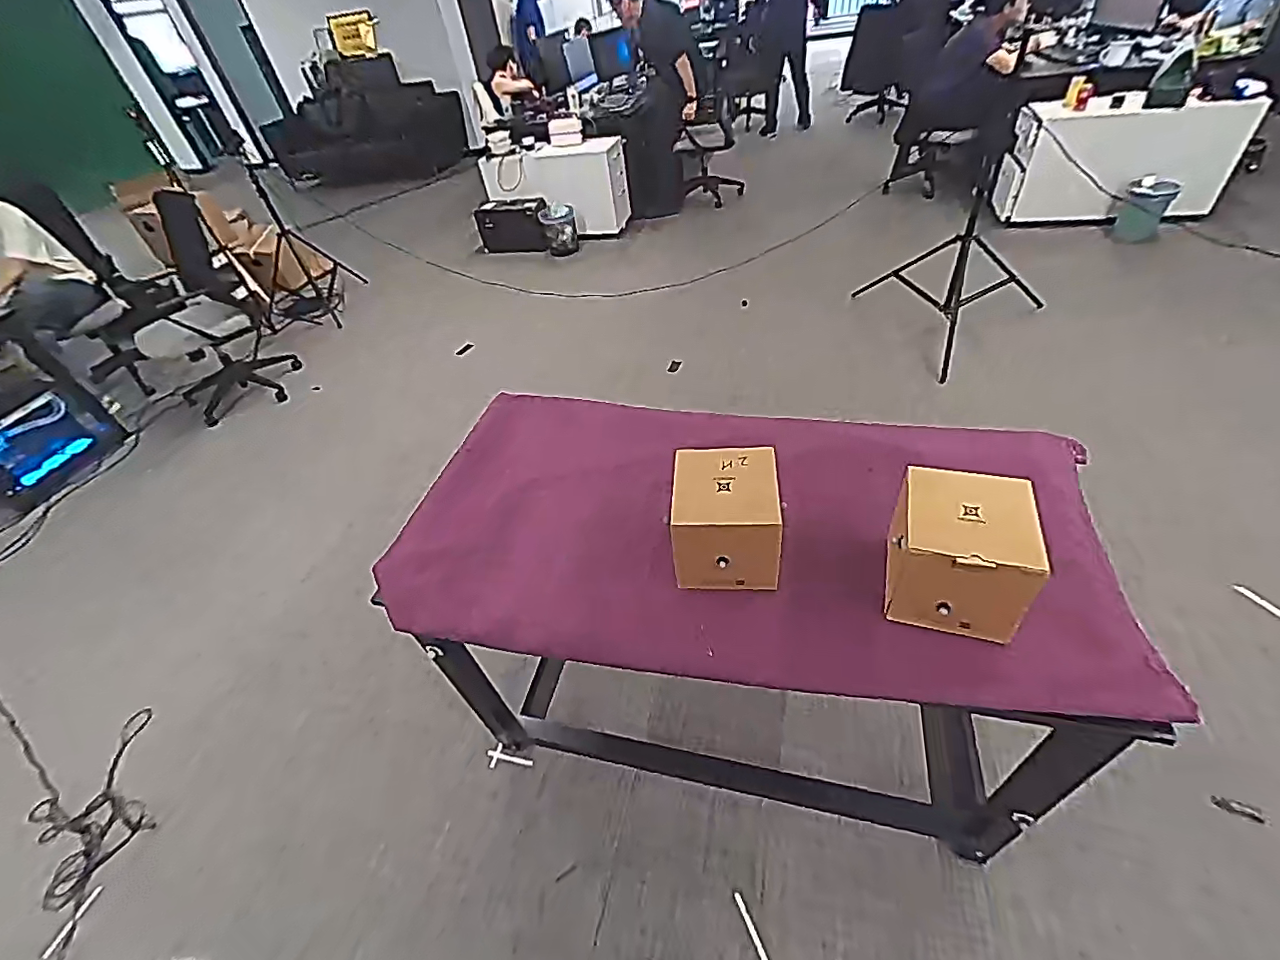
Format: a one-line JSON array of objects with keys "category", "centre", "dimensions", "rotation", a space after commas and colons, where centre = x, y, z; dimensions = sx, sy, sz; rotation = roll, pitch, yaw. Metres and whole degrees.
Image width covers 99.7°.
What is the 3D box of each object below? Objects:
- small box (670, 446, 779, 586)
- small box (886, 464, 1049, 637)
[{"category": "small box", "centre": [0.145, 0.064, 0.912], "dimensions": [0.168, 0.176, 0.179], "rotation": [-1, 43, 9]}, {"category": "small box", "centre": [0.472, 0.102, 0.809], "dimensions": [0.168, 0.176, 0.179], "rotation": [8, 45, 19]}]
